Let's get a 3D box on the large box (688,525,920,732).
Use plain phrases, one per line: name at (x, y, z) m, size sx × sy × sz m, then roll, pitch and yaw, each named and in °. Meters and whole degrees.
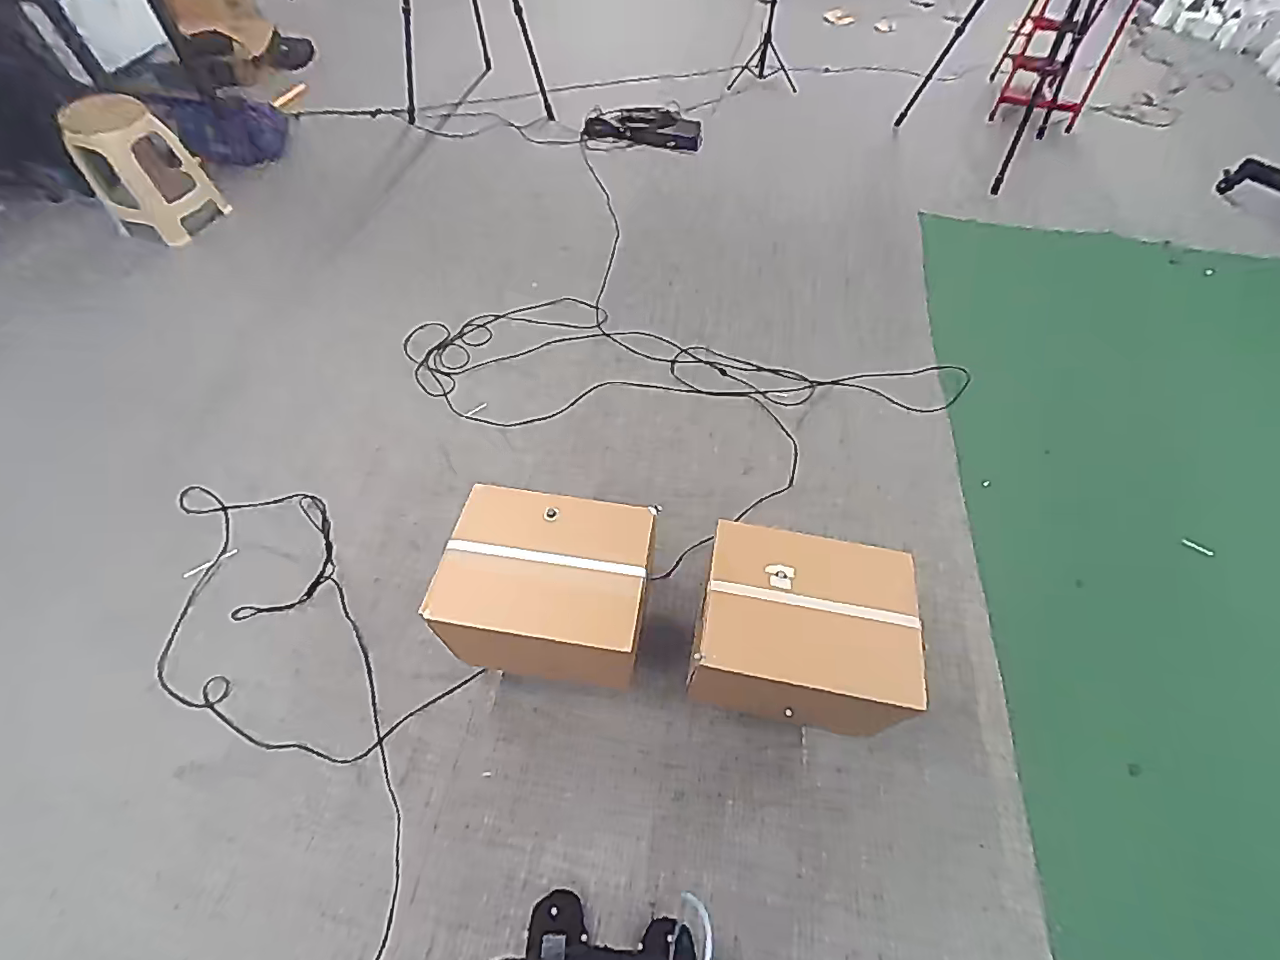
large box at (0.334, 0.333, 1.185) m, size 0.408 × 0.320 × 0.320 m, roll 10°, pitch 56°, yaw 6°
